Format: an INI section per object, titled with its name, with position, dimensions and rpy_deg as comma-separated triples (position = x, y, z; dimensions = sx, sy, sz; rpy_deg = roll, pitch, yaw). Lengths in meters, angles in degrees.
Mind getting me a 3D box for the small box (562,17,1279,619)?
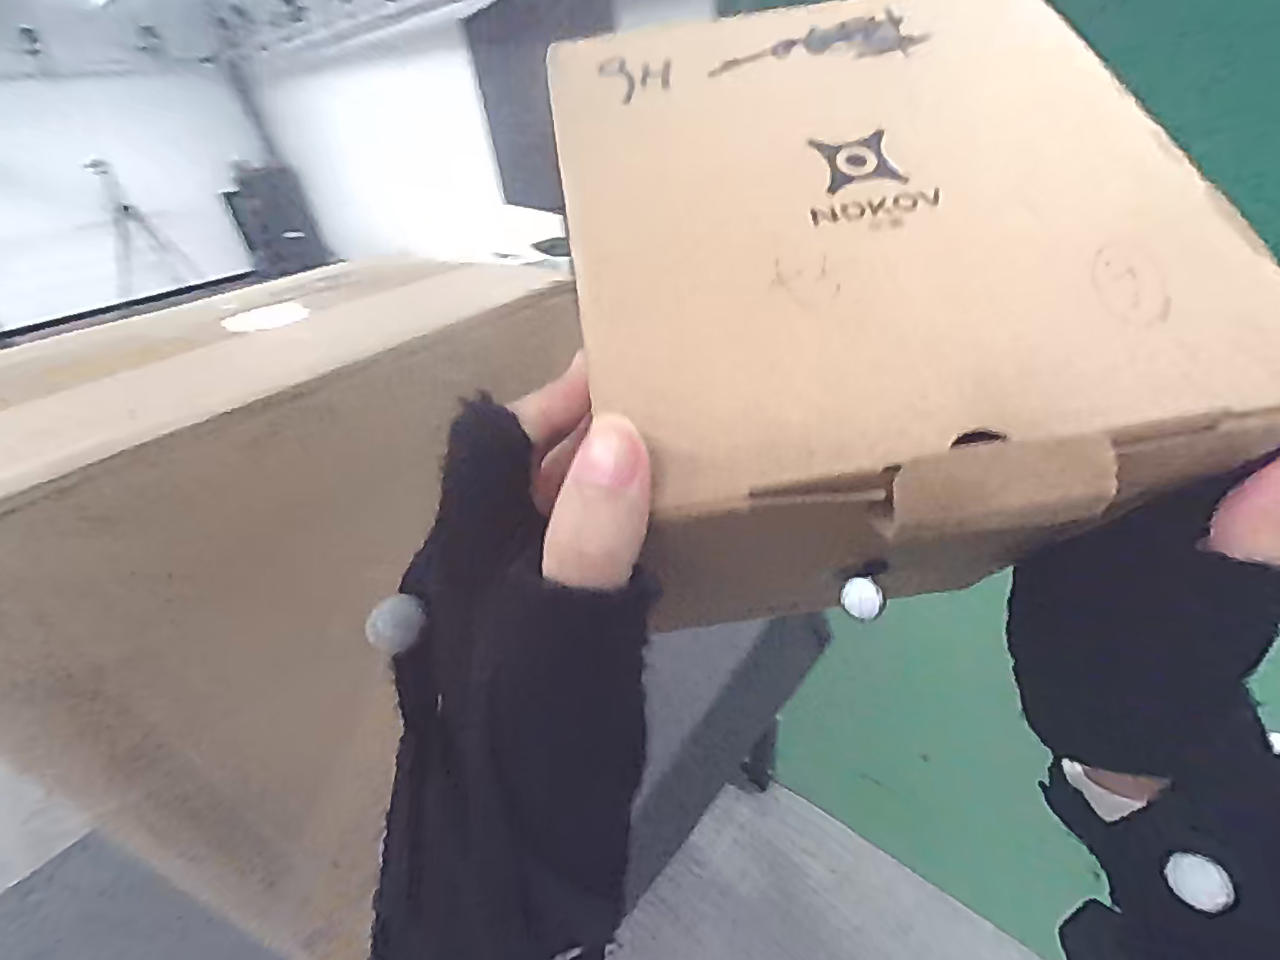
[small box]
position = 0.069, -0.041, 0.234
dimensions = 0.168, 0.176, 0.179
rpy_deg = -9, 68, 1
